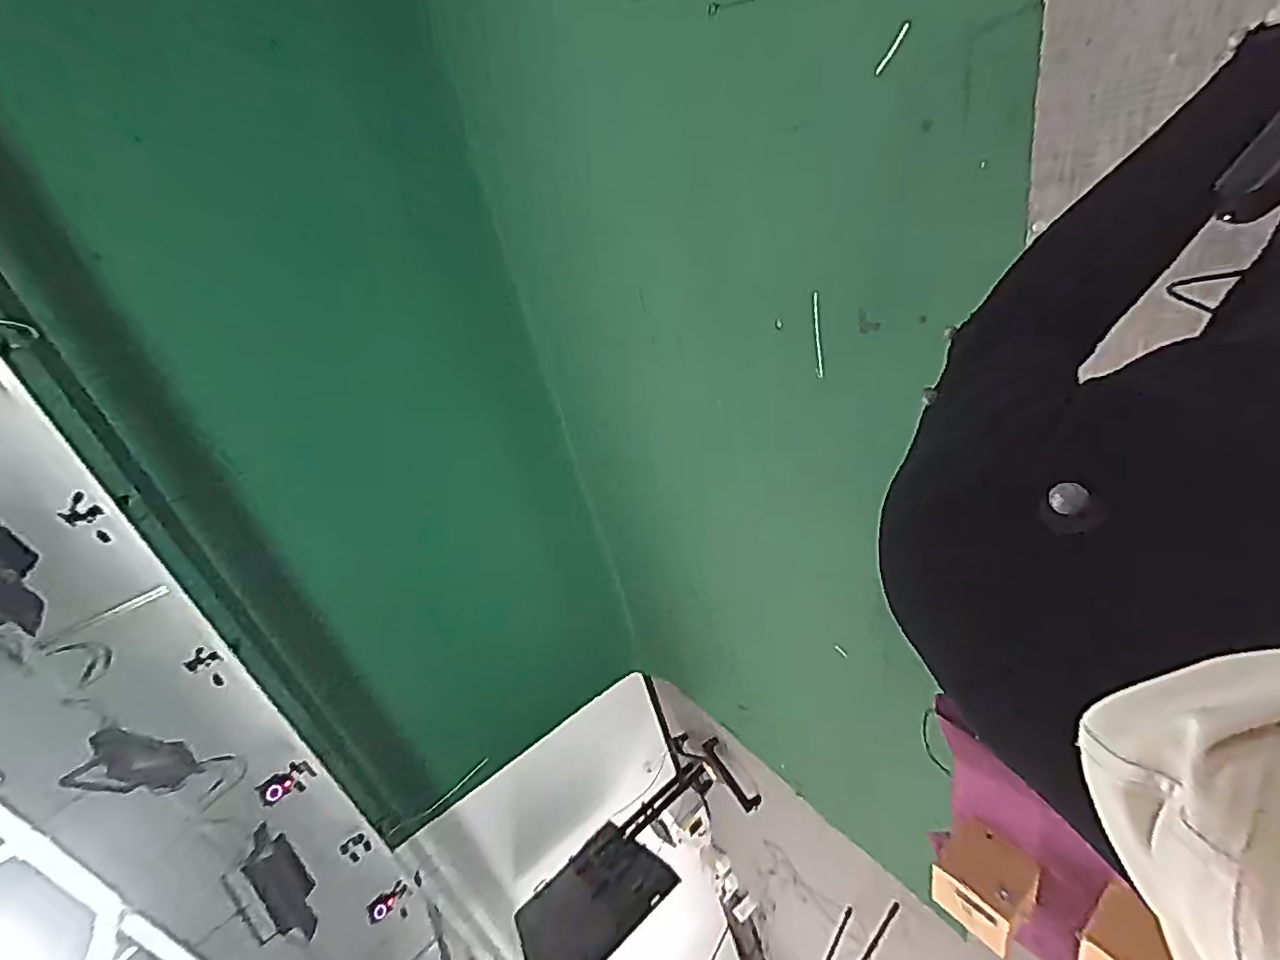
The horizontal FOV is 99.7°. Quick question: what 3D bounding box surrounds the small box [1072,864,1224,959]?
[{"bbox_3d":[0.958,0.893,1.026,0.168,0.176,0.179,20,134,52],"label":"small box"}]
